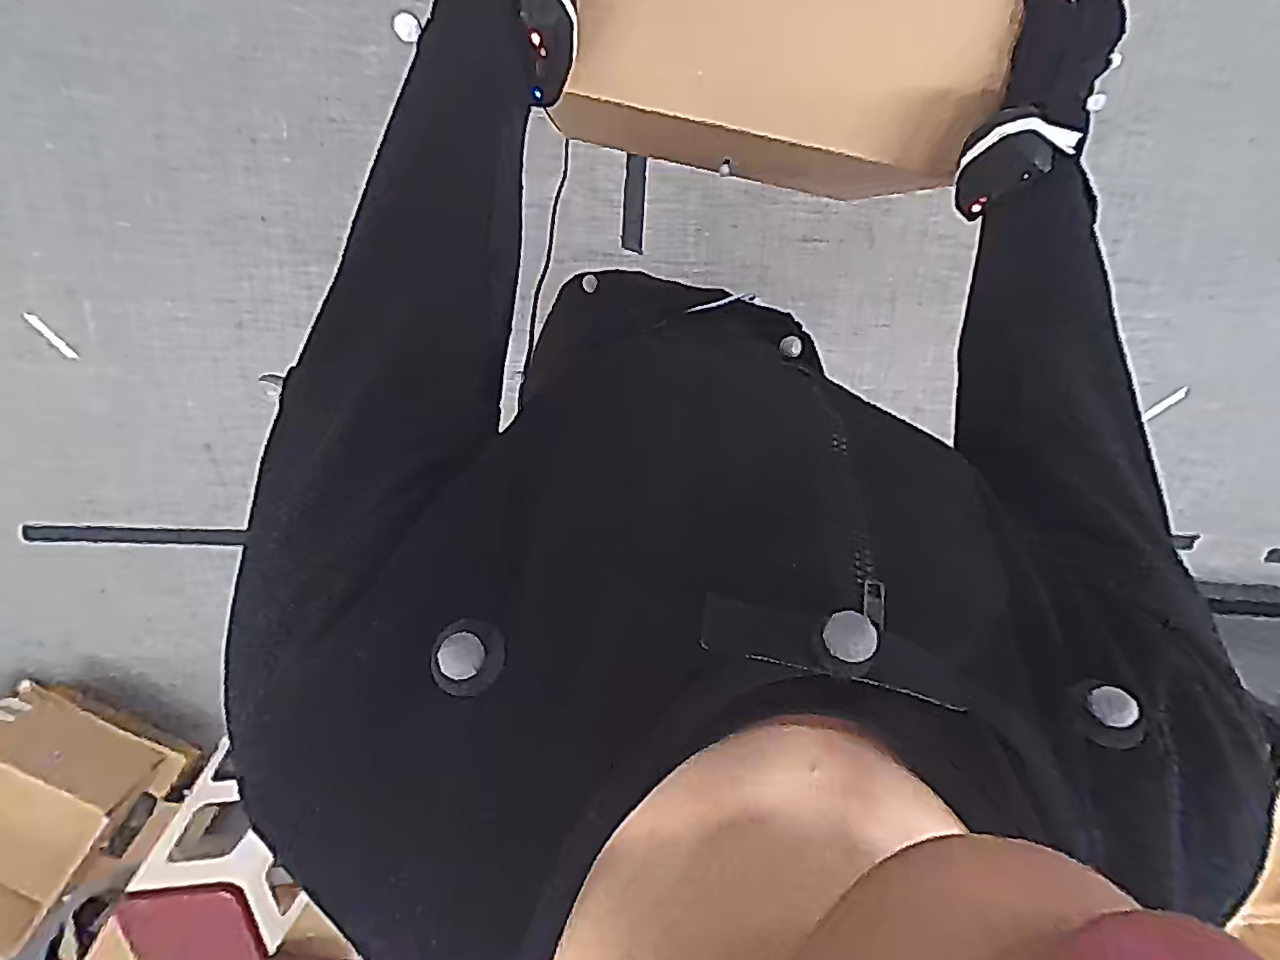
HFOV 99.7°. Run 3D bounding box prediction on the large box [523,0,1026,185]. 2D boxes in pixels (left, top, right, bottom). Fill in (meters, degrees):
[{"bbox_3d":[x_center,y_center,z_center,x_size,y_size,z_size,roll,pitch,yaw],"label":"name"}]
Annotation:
[{"bbox_3d":[0.123,-0.508,0.541,0.408,0.320,0.320,10,113,-5],"label":"large box"}]
